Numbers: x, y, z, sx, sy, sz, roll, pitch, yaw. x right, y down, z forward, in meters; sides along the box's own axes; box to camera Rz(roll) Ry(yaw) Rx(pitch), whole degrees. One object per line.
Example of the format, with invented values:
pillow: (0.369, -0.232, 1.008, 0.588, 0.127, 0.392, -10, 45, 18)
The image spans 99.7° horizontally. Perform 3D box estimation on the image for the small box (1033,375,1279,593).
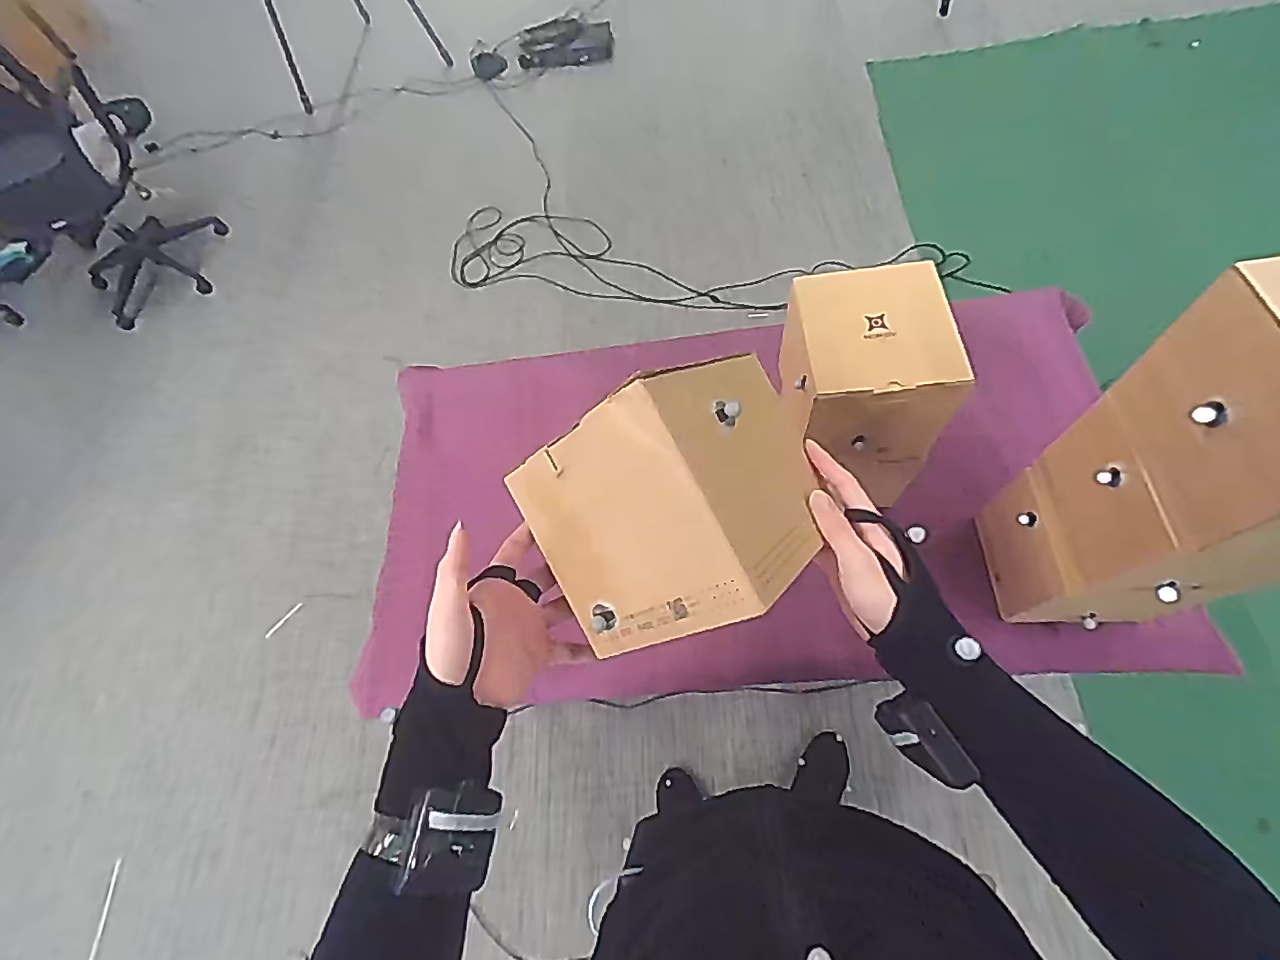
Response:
small box: (0.560, 0.013, 0.572, 0.168, 0.176, 0.179, -3, 65, 9)

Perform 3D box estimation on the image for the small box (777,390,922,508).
small box: (0.304, -0.069, 0.830, 0.168, 0.176, 0.179, -2, 65, 8)

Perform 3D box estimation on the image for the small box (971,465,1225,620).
small box: (0.580, 0.086, 0.716, 0.179, 0.176, 0.168, -3, 64, 8)

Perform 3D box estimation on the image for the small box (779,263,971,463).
small box: (0.277, -0.141, 0.687, 0.168, 0.176, 0.179, -6, 65, 6)

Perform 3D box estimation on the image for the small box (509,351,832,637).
small box: (0.032, 0.016, 0.449, 0.168, 0.179, 0.176, -29, 87, 39)
